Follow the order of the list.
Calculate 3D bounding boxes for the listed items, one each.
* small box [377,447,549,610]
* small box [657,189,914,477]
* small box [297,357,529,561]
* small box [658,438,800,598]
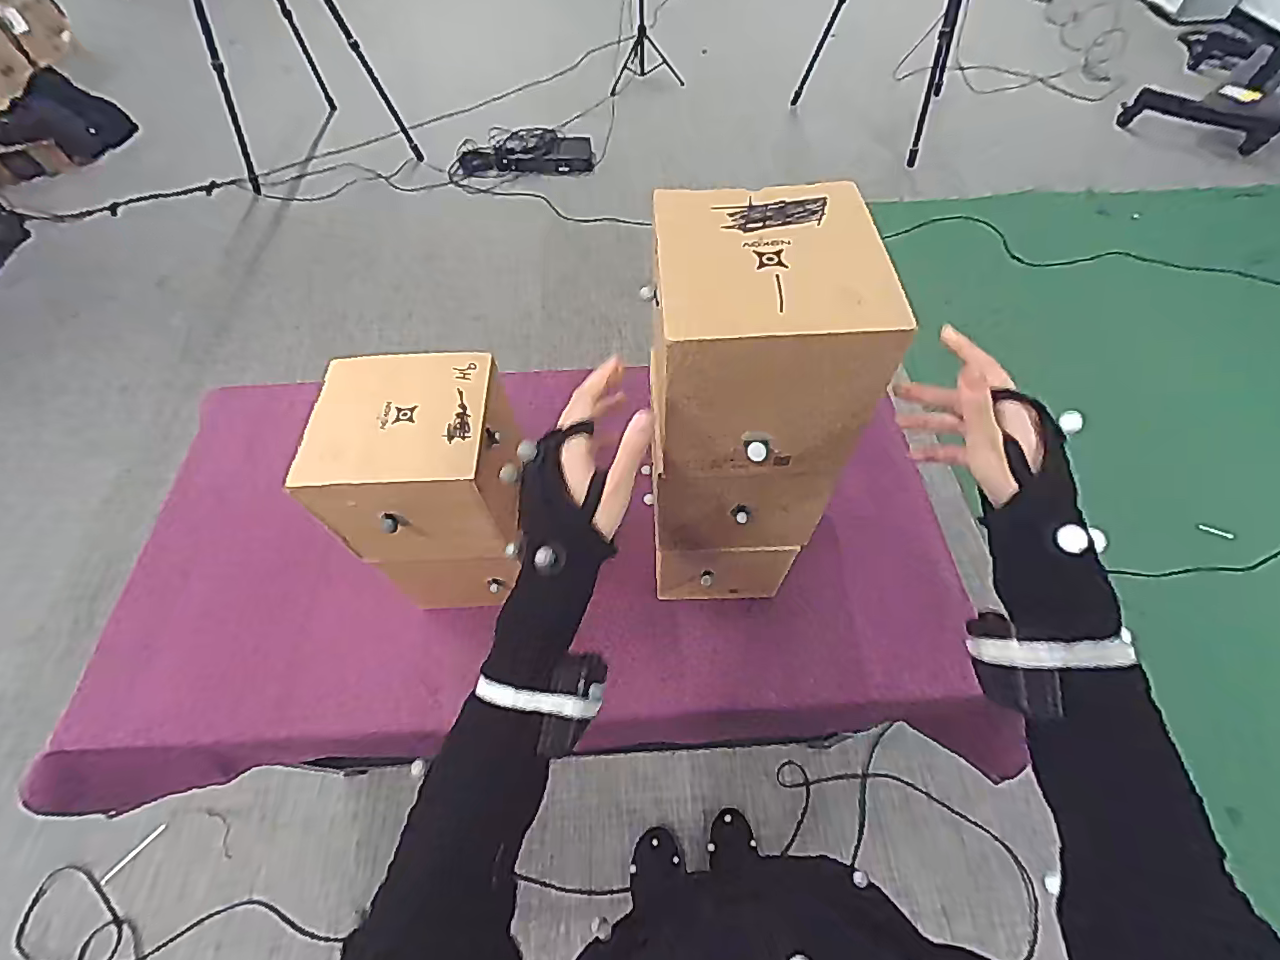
[{"bbox_3d":[-0.224,0.071,0.745,0.179,0.176,0.168,-3,56,0],"label":"small box"},{"bbox_3d":[0.100,-0.121,0.468,0.168,0.176,0.179,-3,57,1],"label":"small box"},{"bbox_3d":[-0.232,-0.017,0.607,0.179,0.176,0.168,-2,56,-1],"label":"small box"},{"bbox_3d":[0.110,0.057,0.745,0.168,0.176,0.179,-2,56,1],"label":"small box"}]
